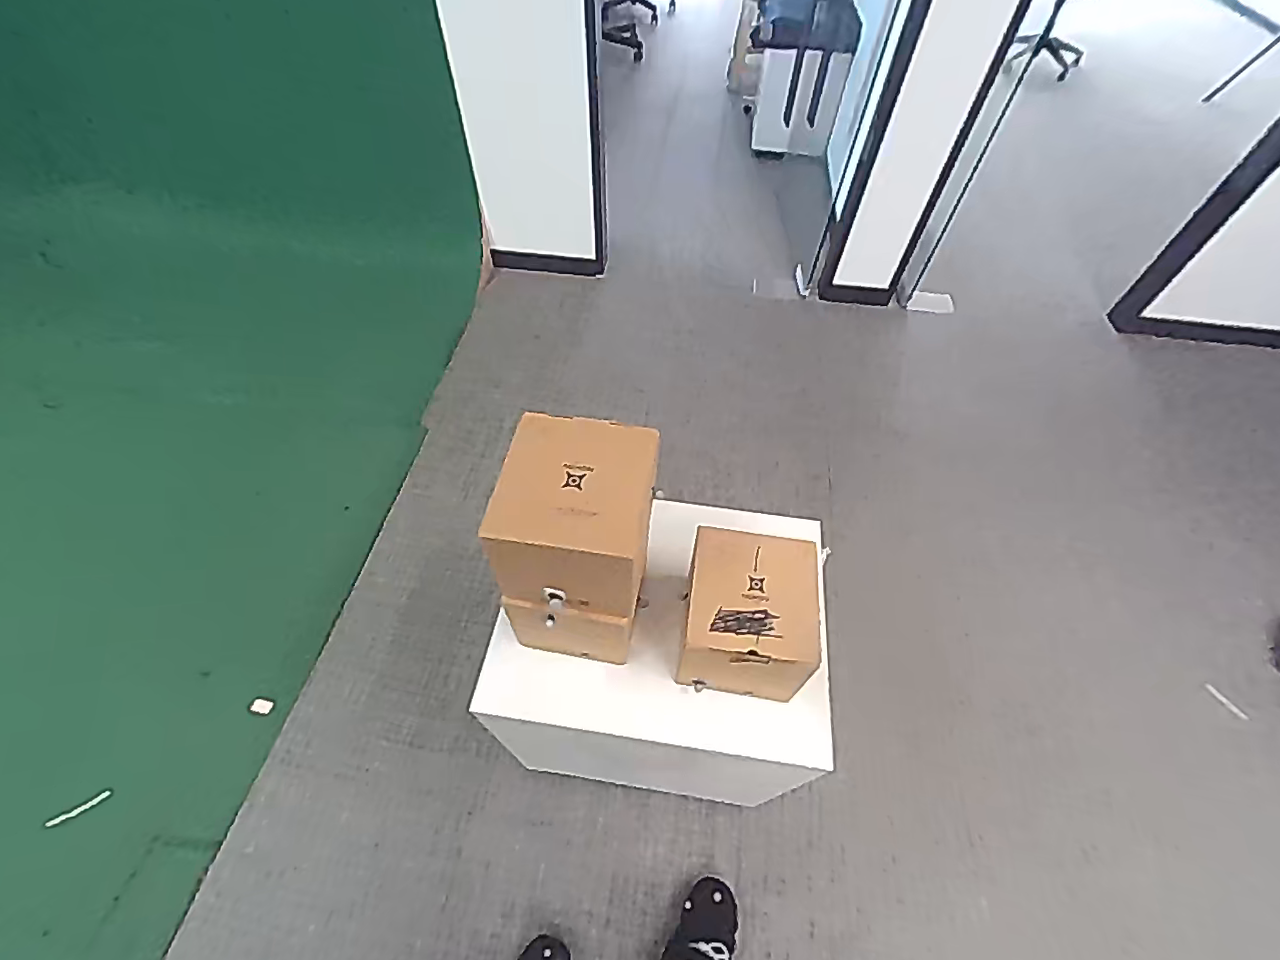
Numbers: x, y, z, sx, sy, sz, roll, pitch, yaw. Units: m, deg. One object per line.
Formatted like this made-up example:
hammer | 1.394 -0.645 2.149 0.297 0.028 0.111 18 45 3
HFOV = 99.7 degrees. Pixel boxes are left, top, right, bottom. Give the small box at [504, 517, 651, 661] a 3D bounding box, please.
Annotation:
small box | -0.082 0.142 0.797 0.168 0.176 0.179 9 53 6

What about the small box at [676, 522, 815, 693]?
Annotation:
small box | 0.145 0.186 0.771 0.168 0.176 0.179 8 53 5

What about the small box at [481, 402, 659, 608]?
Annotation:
small box | -0.073 0.033 0.657 0.168 0.176 0.179 7 56 4
